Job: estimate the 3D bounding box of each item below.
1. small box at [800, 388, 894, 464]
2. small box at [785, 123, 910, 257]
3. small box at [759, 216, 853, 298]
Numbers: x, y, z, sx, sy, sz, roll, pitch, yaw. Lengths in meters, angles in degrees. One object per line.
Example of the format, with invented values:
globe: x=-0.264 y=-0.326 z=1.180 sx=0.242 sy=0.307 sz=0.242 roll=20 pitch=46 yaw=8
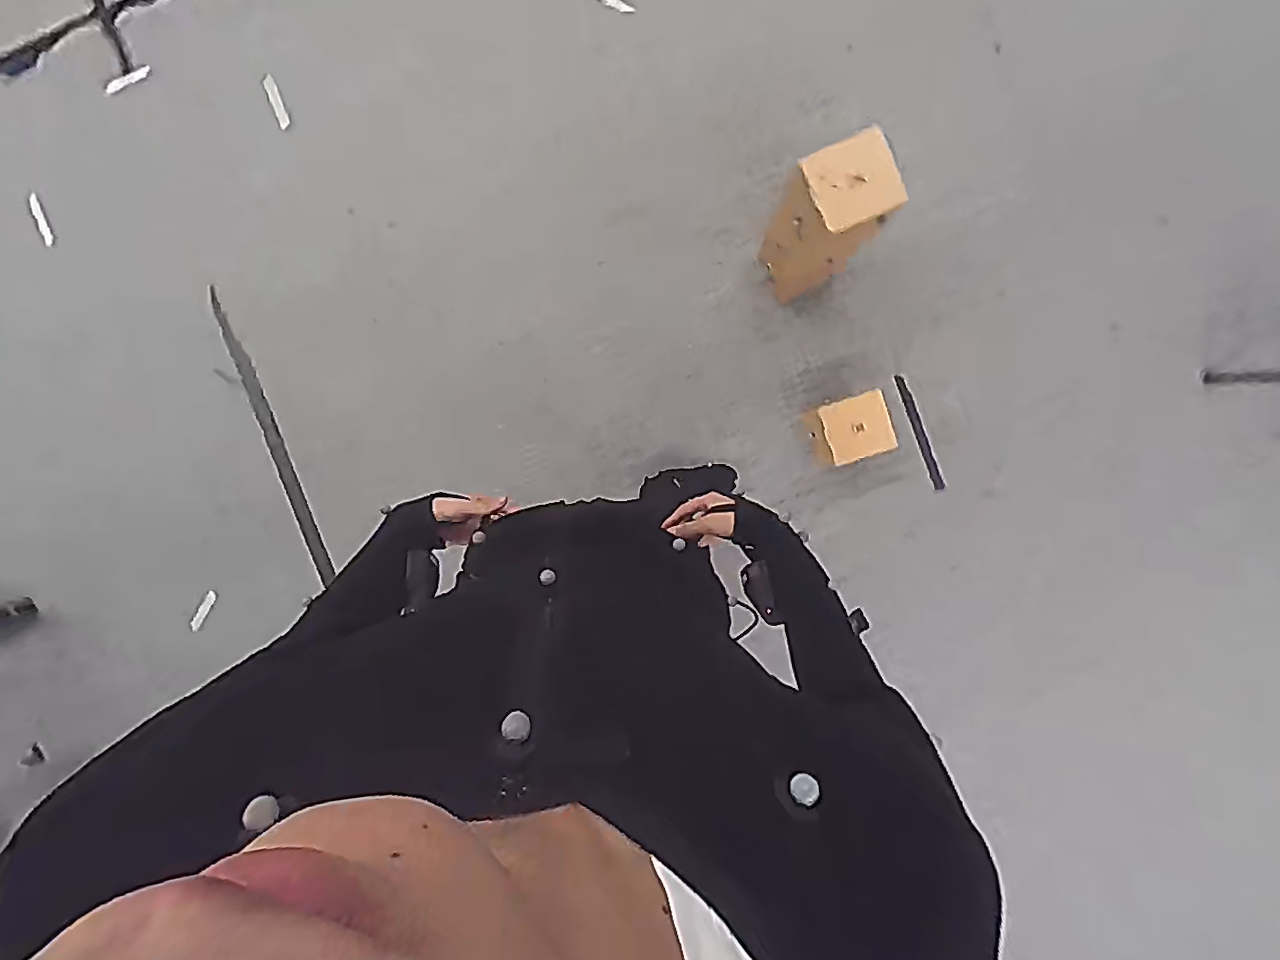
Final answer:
small box: x=0.577 y=-0.151 z=1.522 sx=0.179 sy=0.176 sz=0.168 roll=-18 pitch=93 yaw=3
small box: x=0.438 y=-0.613 z=1.167 sx=0.179 sy=0.176 sz=0.168 roll=-22 pitch=91 yaw=3
small box: x=0.452 y=-0.629 z=1.494 sx=0.179 sy=0.176 sz=0.168 roll=-22 pitch=92 yaw=2
